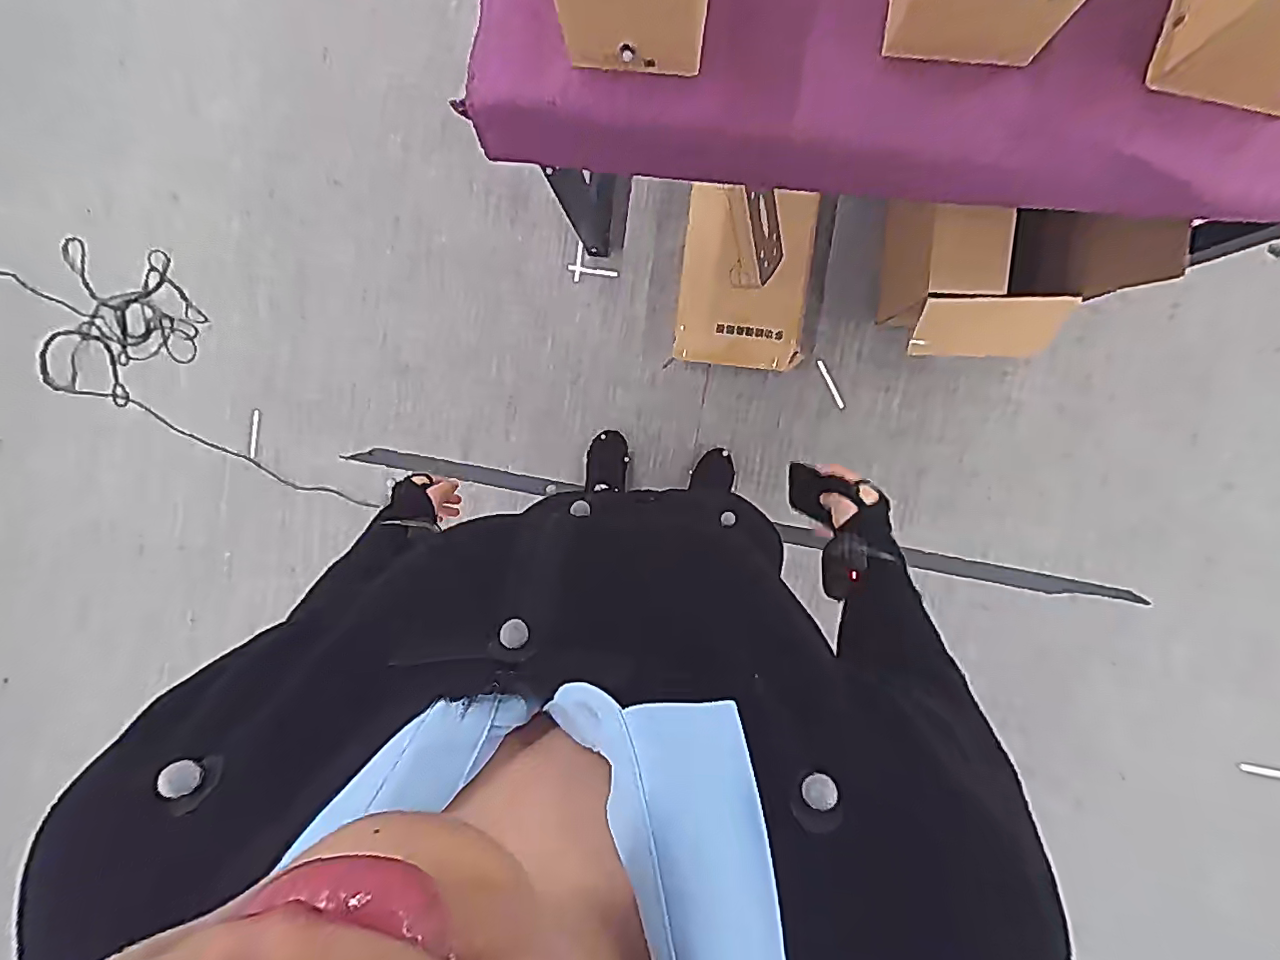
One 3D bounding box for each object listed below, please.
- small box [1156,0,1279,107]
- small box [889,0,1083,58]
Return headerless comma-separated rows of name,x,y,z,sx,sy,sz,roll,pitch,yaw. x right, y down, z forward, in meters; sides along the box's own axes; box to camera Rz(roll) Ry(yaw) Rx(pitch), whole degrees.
small box,0.706,-0.527,0.557,0.179,0.176,0.168,15,96,3
small box,0.395,-0.592,0.574,0.179,0.176,0.168,7,94,4
